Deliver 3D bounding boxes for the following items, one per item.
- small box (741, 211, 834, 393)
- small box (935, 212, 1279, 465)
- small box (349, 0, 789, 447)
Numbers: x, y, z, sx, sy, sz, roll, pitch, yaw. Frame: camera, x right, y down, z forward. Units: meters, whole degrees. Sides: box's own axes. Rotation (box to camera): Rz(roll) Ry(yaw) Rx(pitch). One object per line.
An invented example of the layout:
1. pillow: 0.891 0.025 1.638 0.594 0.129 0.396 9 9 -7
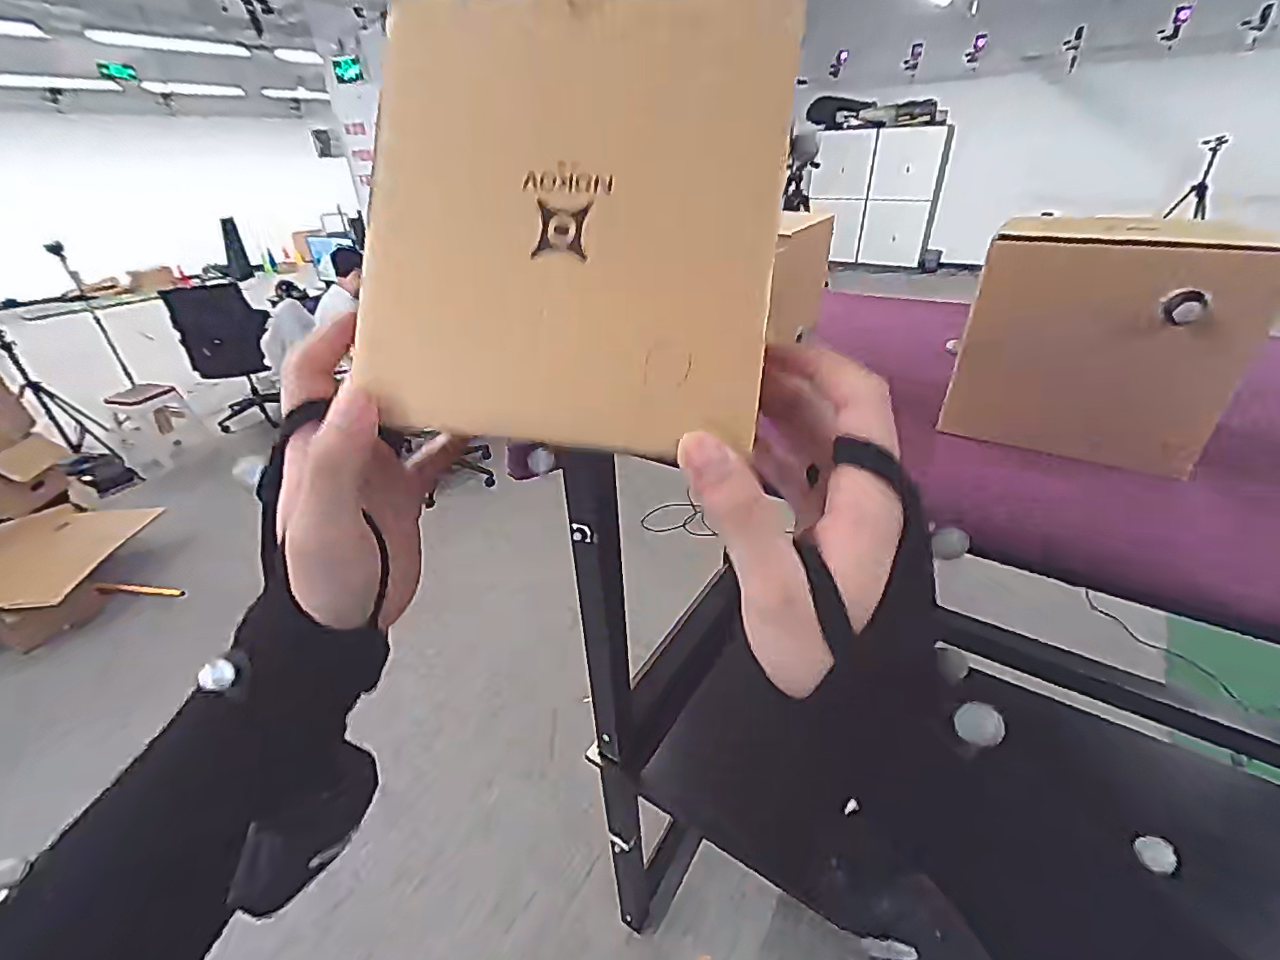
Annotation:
1. small box: 0.103 -0.211 0.625 0.179 0.176 0.168 16 36 26
2. small box: 0.384 -0.129 0.469 0.179 0.176 0.168 18 35 30
3. small box: -0.021 -0.114 0.292 0.168 0.179 0.176 7 0 8
